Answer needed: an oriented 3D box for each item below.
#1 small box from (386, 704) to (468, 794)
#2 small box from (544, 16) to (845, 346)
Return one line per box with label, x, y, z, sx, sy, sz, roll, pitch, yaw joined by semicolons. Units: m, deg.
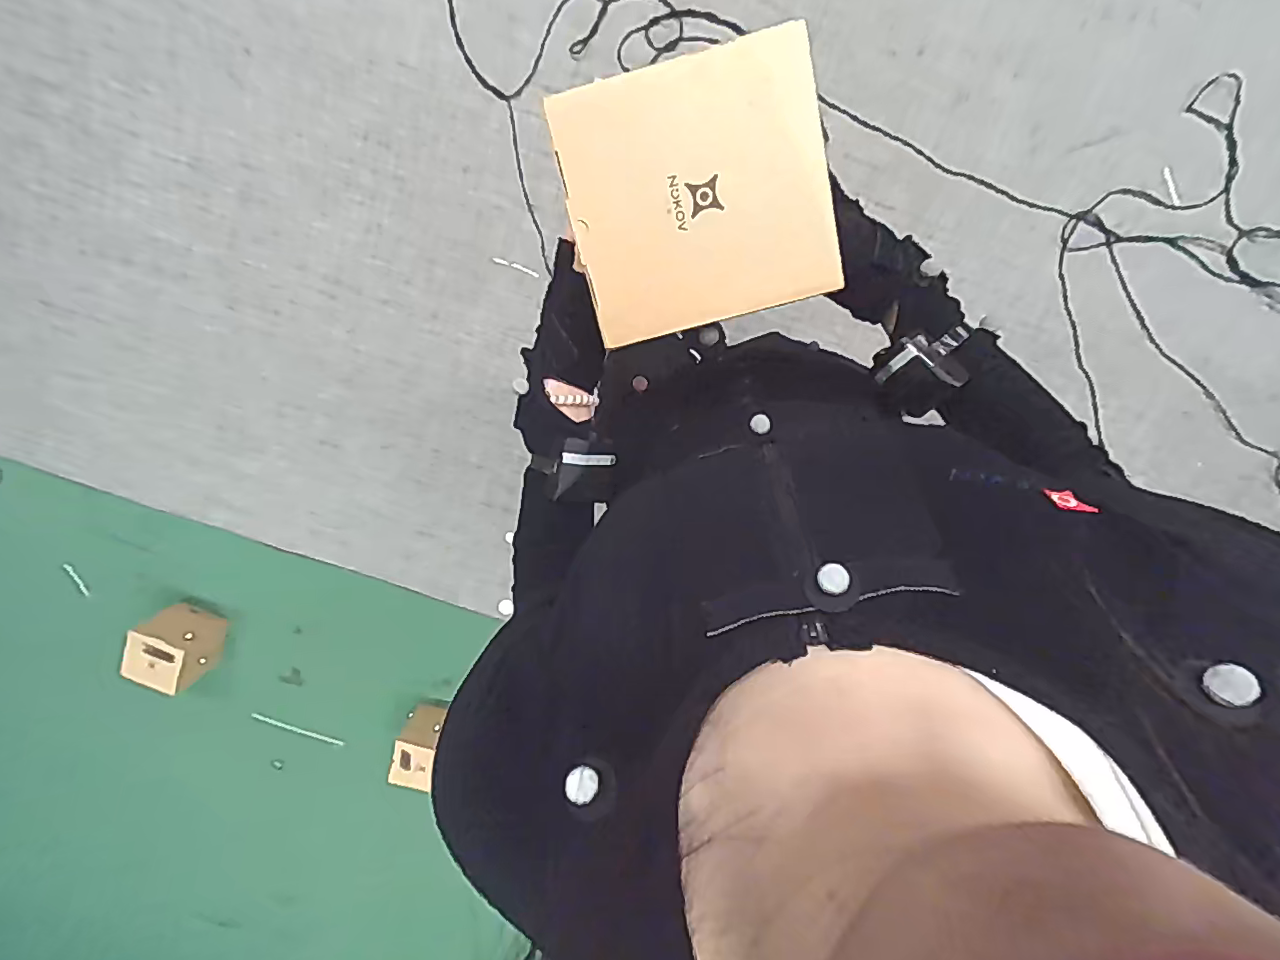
small box;-0.666;0.839;1.702;0.179;0.176;0.168;16;107;-4
small box;0.042;-0.214;0.436;0.179;0.176;0.168;-13;105;6
